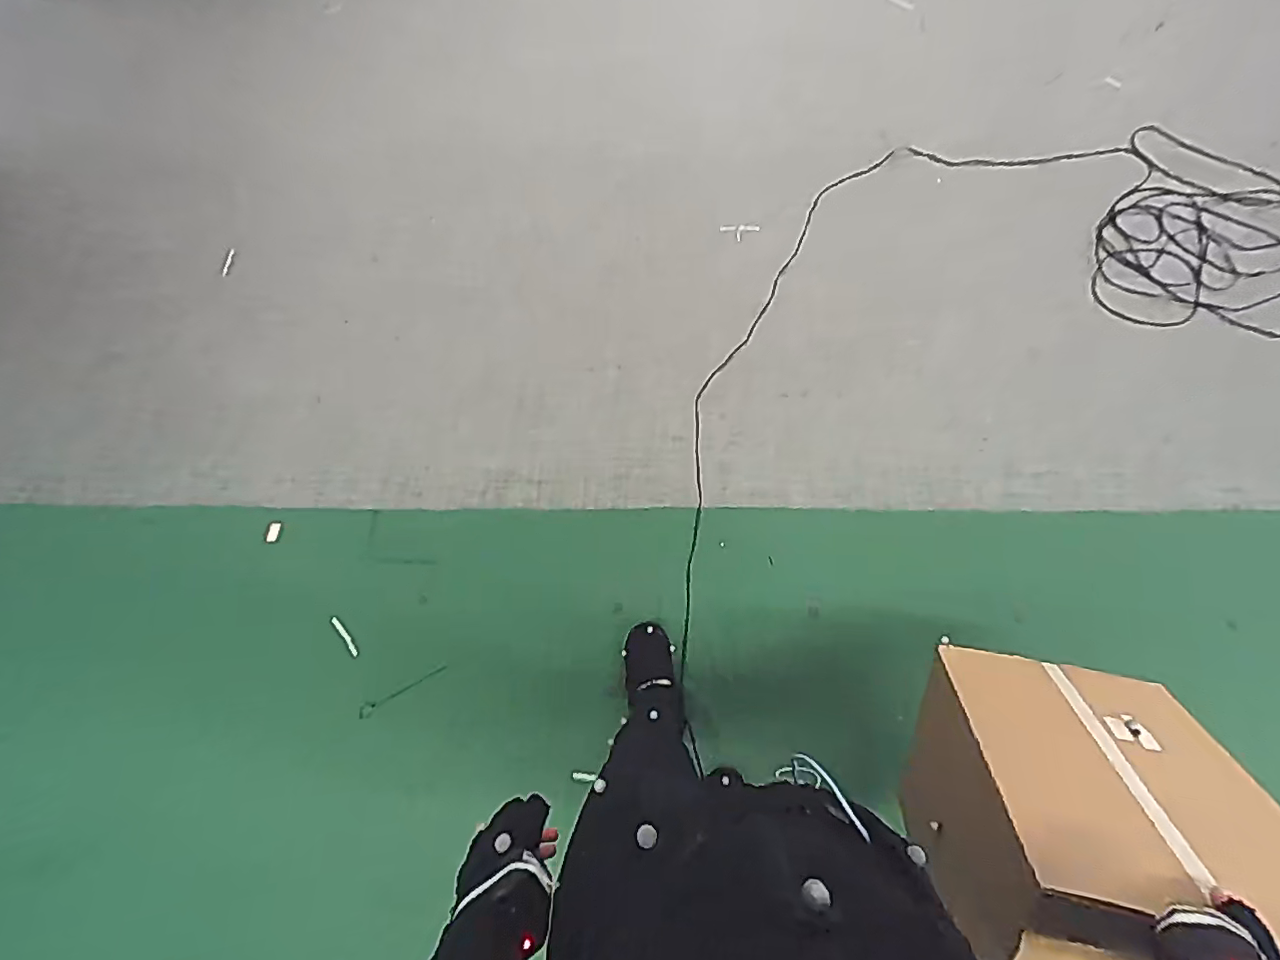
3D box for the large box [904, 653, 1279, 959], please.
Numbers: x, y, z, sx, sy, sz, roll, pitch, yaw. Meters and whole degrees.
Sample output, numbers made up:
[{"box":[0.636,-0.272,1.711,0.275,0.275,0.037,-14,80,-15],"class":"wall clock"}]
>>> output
[{"box":[0.572,0.497,0.706,0.320,0.408,0.320,8,109,13],"class":"large box"}]
